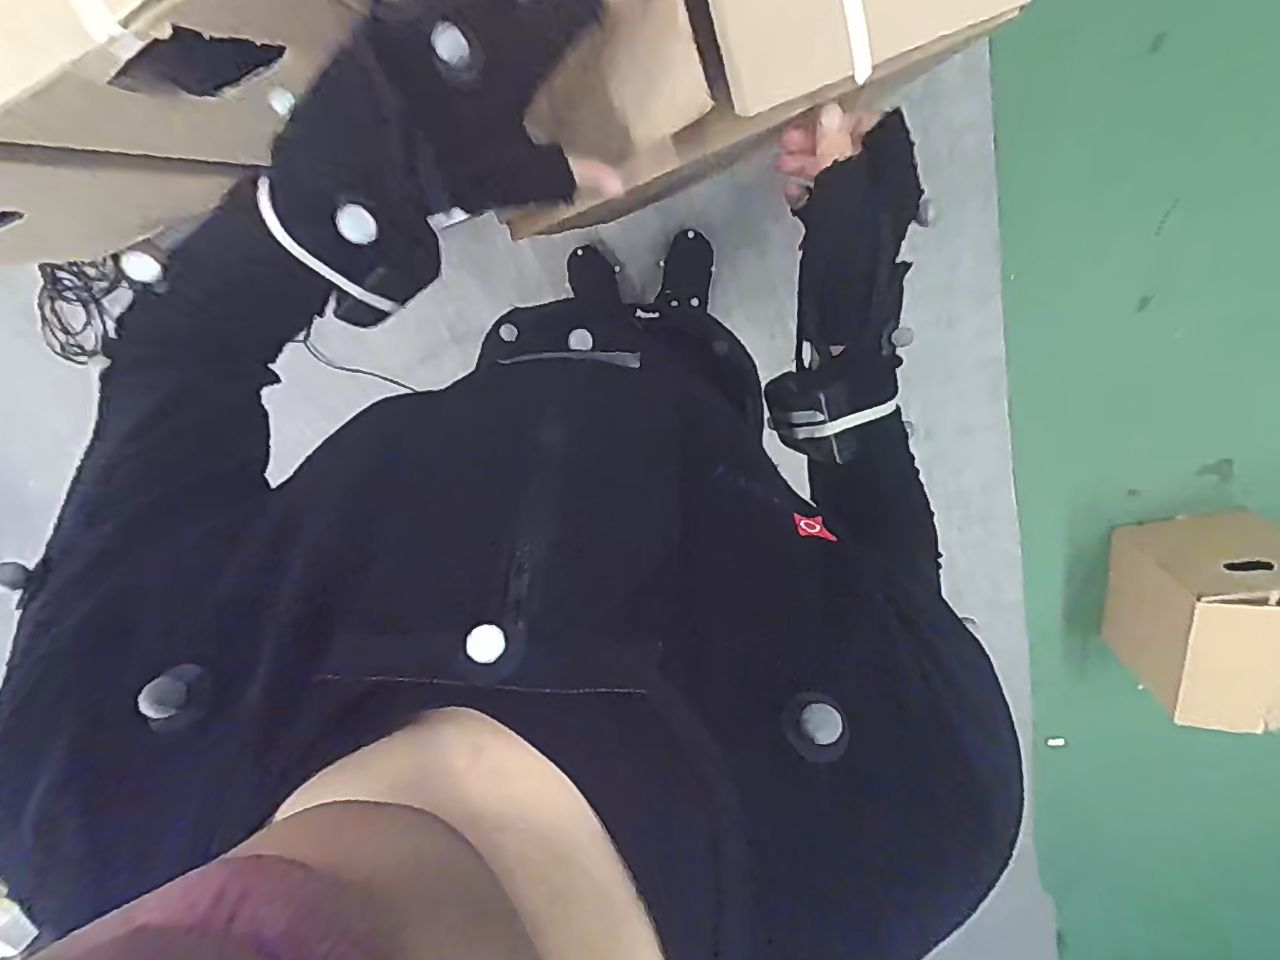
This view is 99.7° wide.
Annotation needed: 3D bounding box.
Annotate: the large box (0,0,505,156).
[{"bbox_3d":[-0.357,-0.514,0.385,0.320,0.320,0.408,-14,115,15],"label":"large box"}]
